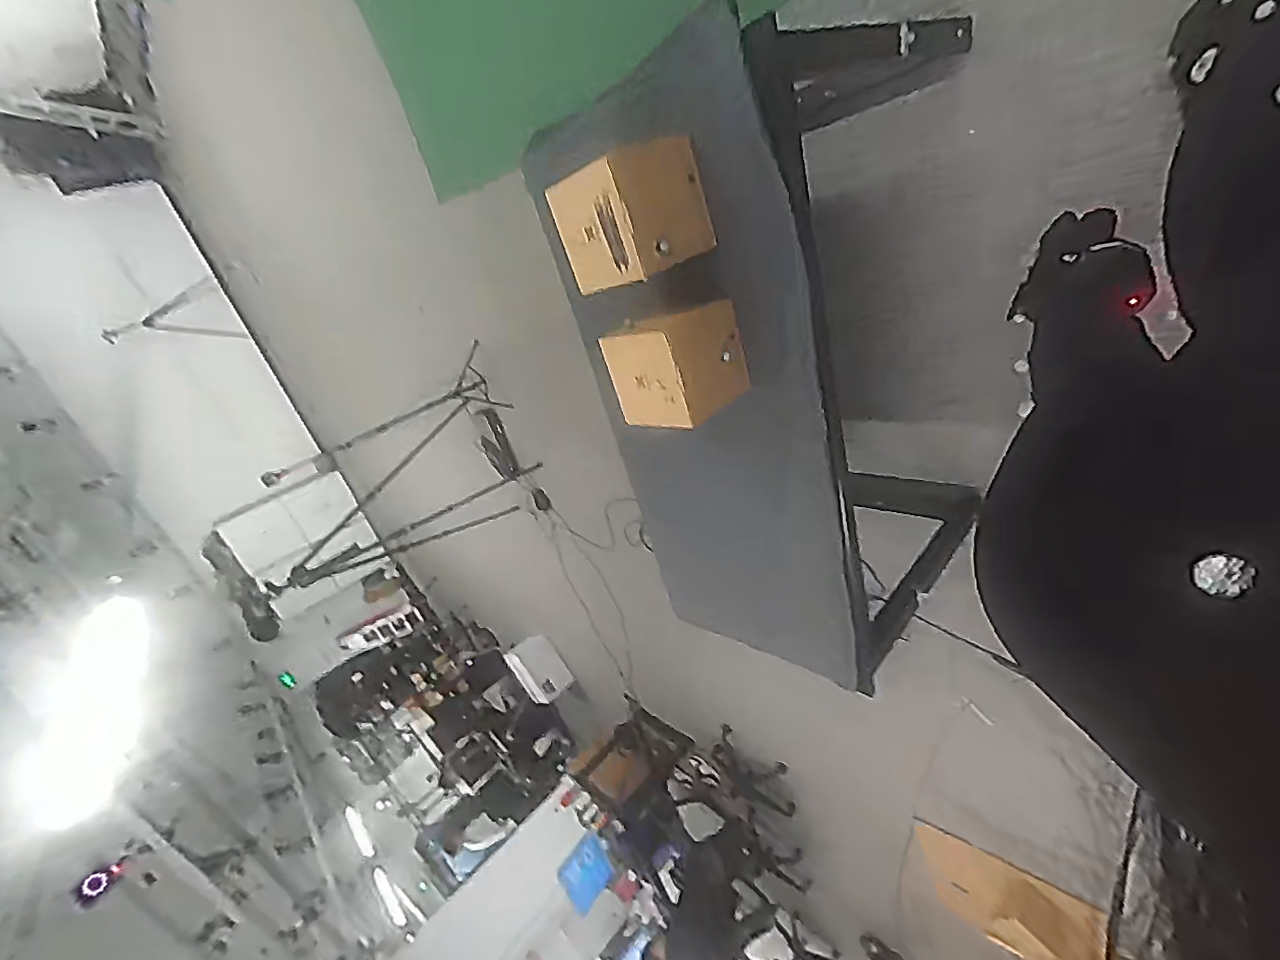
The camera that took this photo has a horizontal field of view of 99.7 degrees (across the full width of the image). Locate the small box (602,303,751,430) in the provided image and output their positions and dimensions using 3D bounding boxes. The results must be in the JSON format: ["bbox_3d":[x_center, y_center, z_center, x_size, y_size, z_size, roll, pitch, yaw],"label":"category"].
[{"bbox_3d":[0.068,-0.202,0.959,0.179,0.176,0.168,10,127,48],"label":"small box"}]
